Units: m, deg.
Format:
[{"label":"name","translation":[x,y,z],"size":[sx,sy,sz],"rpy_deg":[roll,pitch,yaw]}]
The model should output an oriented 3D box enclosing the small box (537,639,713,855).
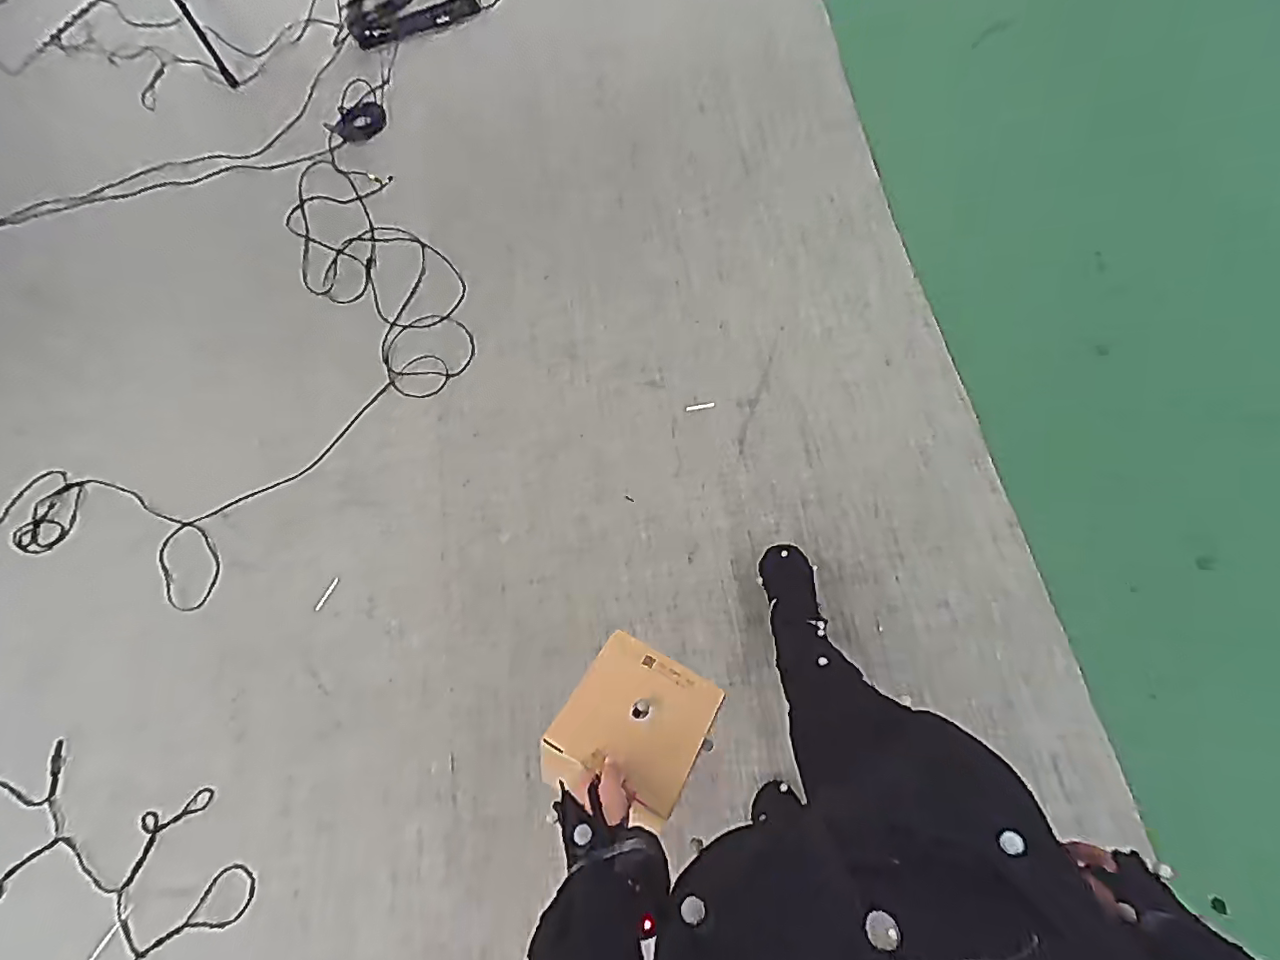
[{"label":"small box","translation":[-0.018,0.344,0.713],"size":[0.168,0.179,0.176],"rpy_deg":[26,46,14]}]
